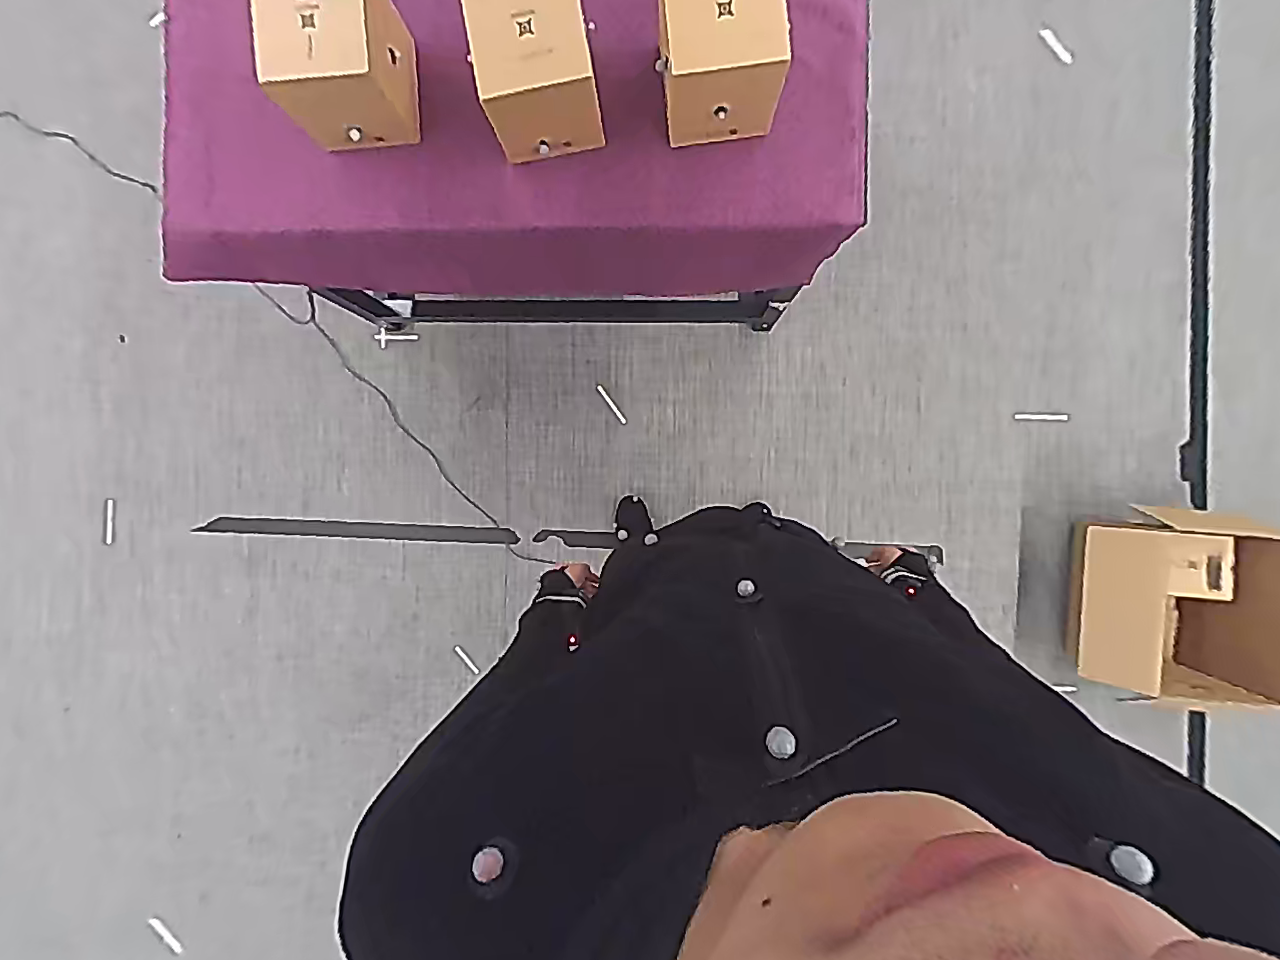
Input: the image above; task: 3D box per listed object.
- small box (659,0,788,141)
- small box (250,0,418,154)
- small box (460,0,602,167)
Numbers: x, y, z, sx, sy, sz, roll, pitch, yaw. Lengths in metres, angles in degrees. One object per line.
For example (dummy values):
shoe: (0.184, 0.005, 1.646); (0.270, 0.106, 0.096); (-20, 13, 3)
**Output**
small box: (0.118, -0.642, 0.812); (0.168, 0.176, 0.179); (-6, 90, 3)
small box: (-0.463, -0.645, 0.839); (0.168, 0.176, 0.179); (-3, 91, 3)
small box: (-0.158, -0.623, 0.827); (0.168, 0.176, 0.179); (-10, 90, 3)
